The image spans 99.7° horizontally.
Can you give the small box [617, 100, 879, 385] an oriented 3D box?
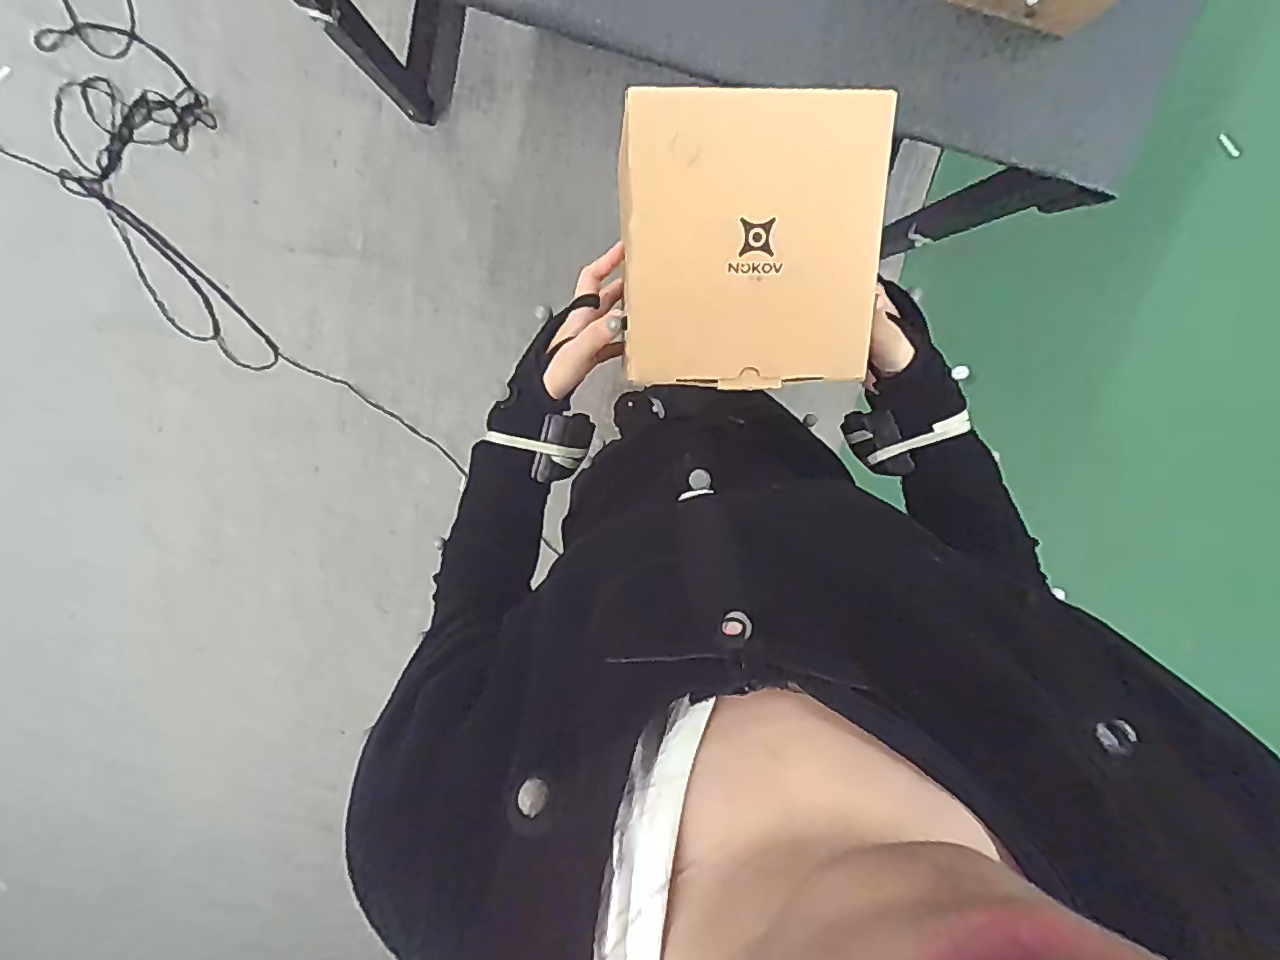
[{"bbox_3d":[0.067,-0.171,0.434,0.168,0.176,0.179,-2,105,-3],"label":"small box"}]
